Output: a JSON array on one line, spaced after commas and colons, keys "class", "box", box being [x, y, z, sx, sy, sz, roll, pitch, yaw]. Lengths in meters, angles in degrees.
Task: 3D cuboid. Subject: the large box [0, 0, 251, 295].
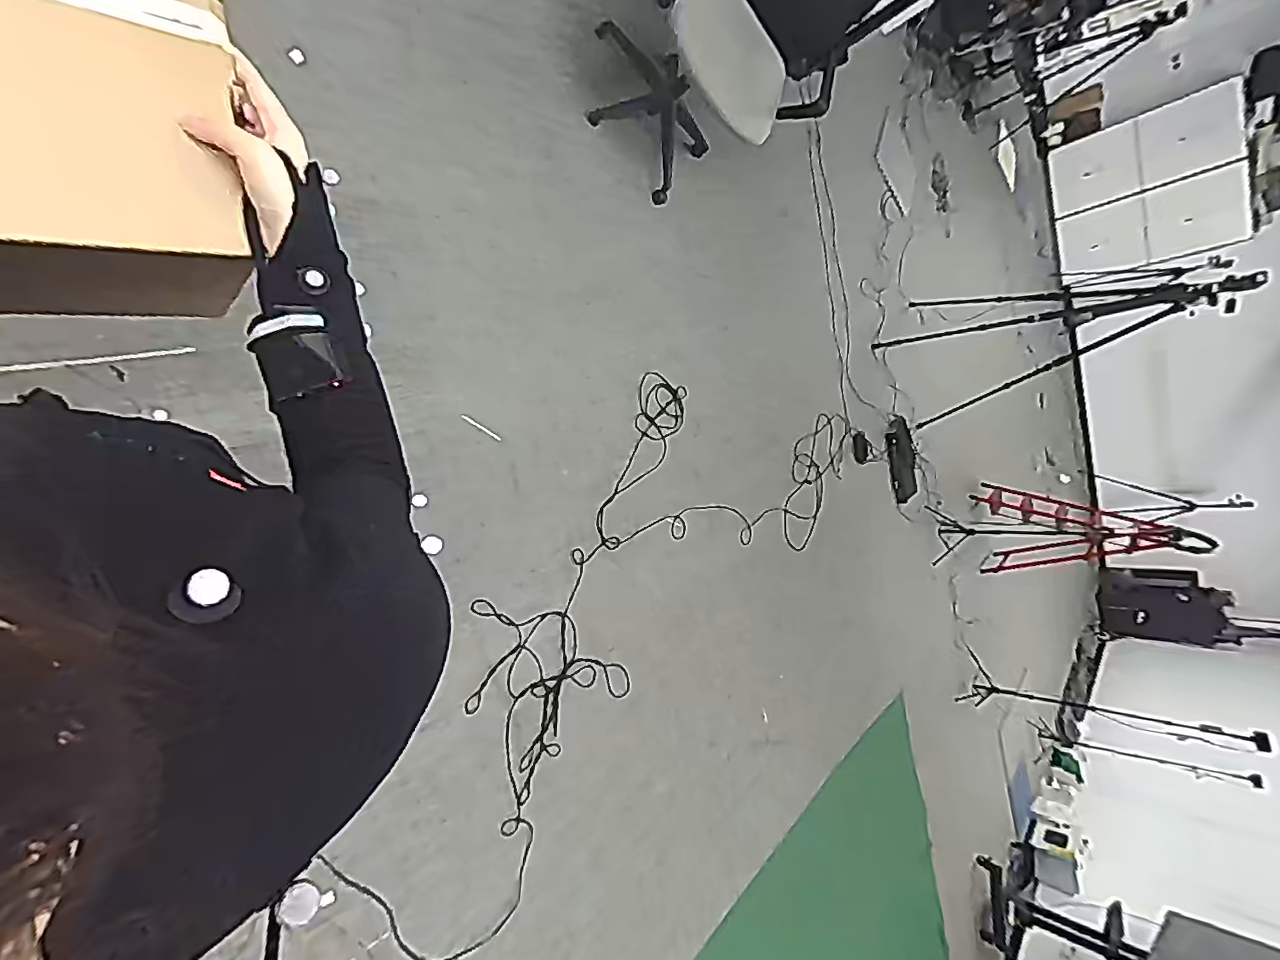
[{"class": "large box", "box": [-0.568, -0.316, 0.391, 0.408, 0.320, 0.320, -14, 104, -39]}]
